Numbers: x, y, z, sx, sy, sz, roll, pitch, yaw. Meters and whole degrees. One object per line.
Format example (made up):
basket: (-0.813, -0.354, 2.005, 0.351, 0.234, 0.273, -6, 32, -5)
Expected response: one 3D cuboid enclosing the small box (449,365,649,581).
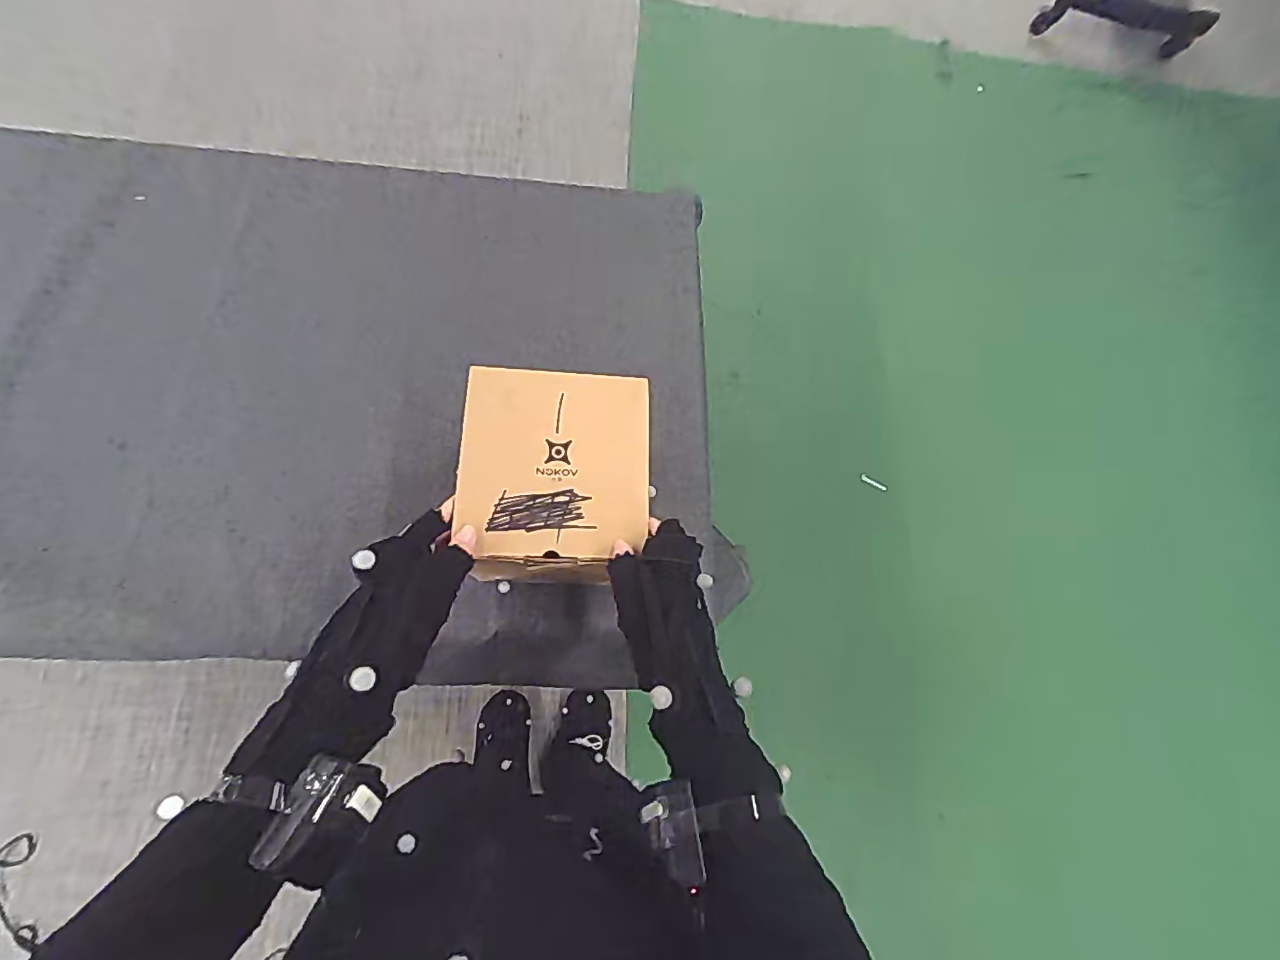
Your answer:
small box: (-0.084, 0.006, 0.546, 0.168, 0.176, 0.179, 3, 72, -7)
